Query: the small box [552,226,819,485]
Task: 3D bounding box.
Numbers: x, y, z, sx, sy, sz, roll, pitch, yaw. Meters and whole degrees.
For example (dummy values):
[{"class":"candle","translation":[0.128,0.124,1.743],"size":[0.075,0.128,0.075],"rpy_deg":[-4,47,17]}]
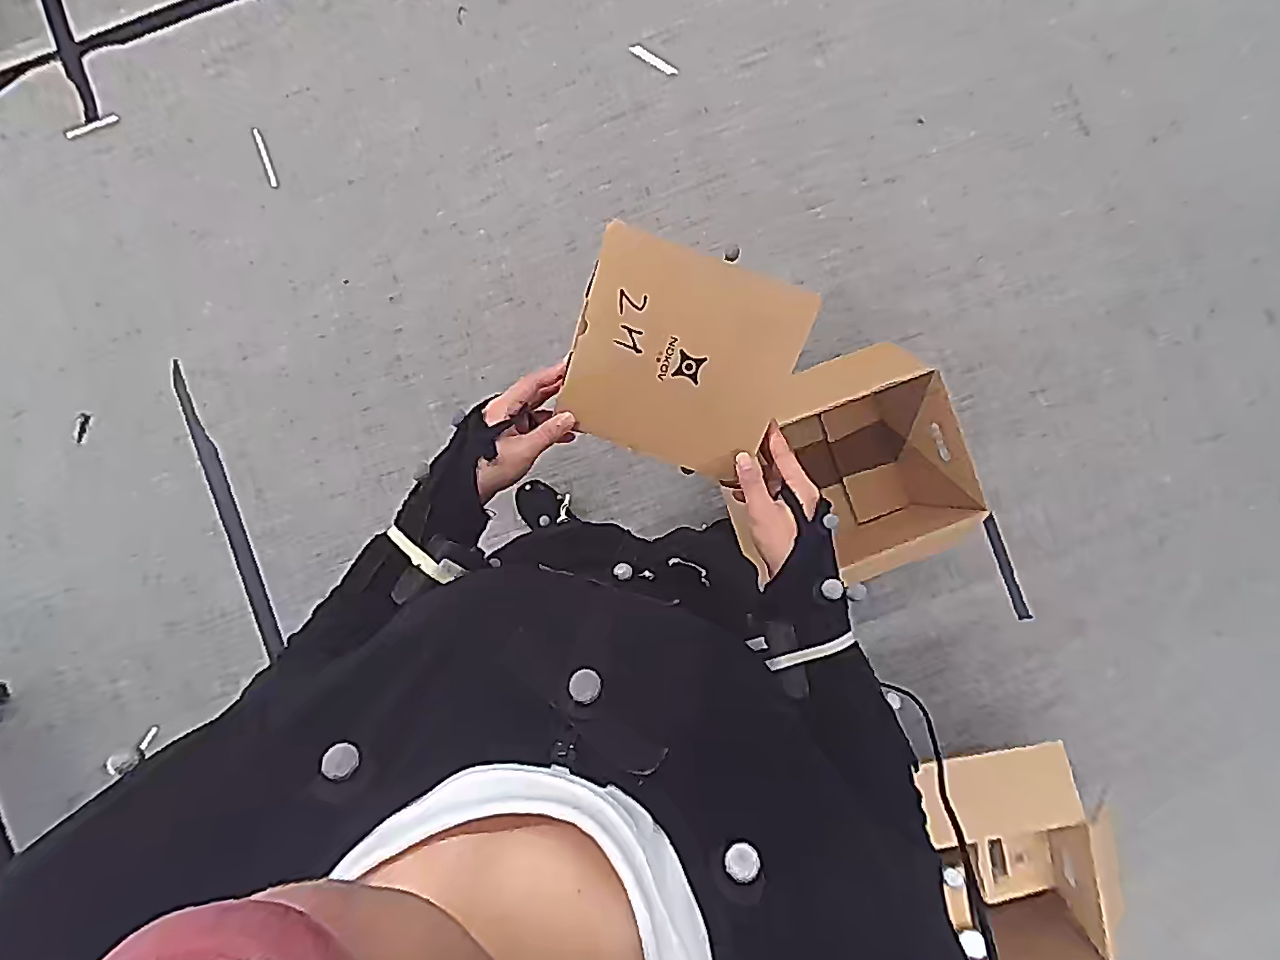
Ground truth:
[{"class":"small box","translation":[0.038,-0.121,0.512],"size":[0.179,0.176,0.168],"rpy_deg":[20,110,-1]}]
